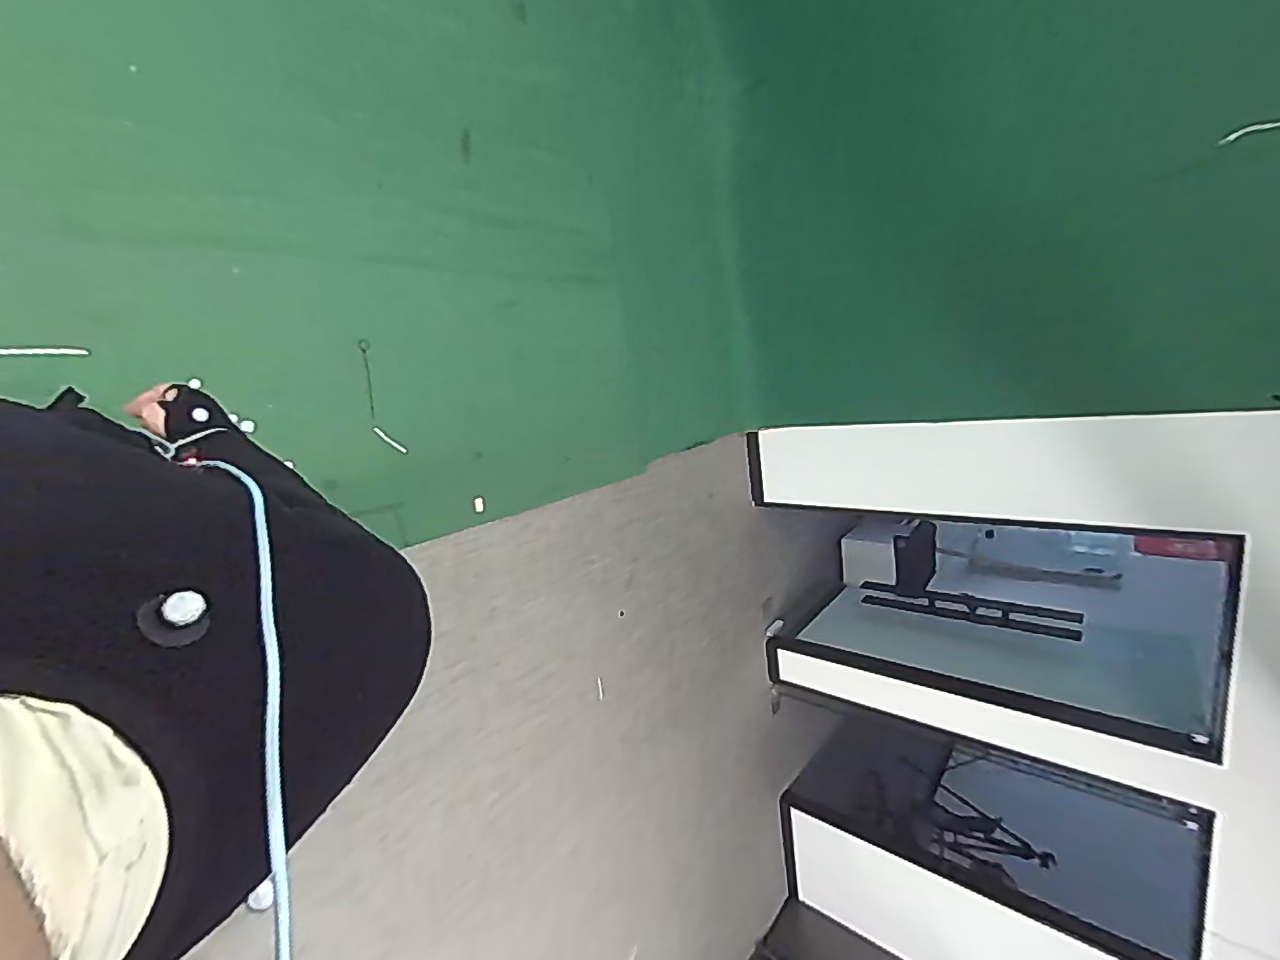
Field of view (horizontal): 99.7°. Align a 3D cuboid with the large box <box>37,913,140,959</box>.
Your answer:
[{"bbox_3d":[-1.201,1.192,1.040,0.408,0.320,0.320,-21,108,-47],"label":"large box"}]
